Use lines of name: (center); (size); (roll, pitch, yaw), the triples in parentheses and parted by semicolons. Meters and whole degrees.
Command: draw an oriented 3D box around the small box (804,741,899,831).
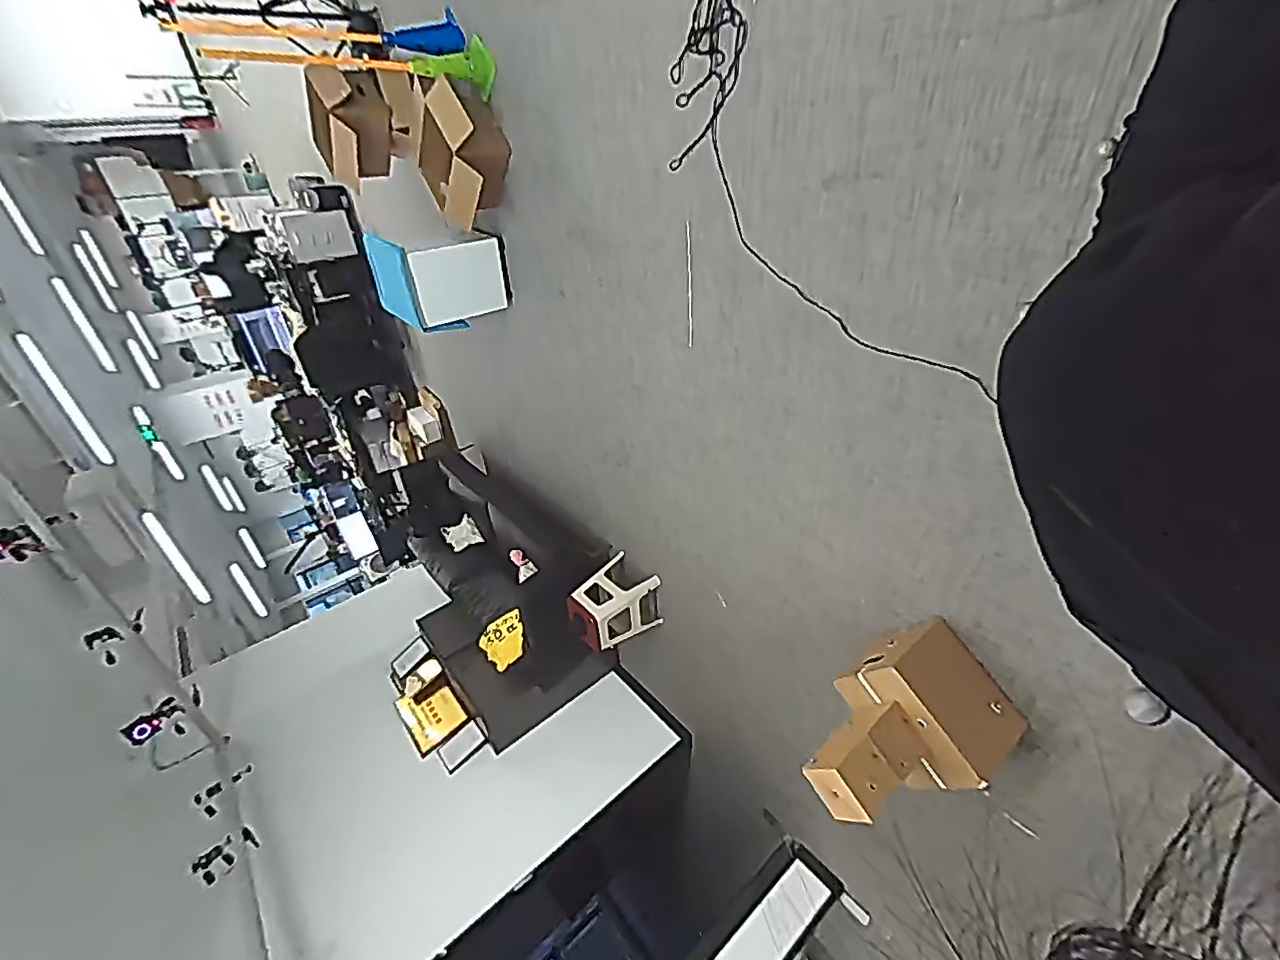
small box: (0.629, 0.895, 1.595); (0.168, 0.176, 0.179); (55, 150, 14)
